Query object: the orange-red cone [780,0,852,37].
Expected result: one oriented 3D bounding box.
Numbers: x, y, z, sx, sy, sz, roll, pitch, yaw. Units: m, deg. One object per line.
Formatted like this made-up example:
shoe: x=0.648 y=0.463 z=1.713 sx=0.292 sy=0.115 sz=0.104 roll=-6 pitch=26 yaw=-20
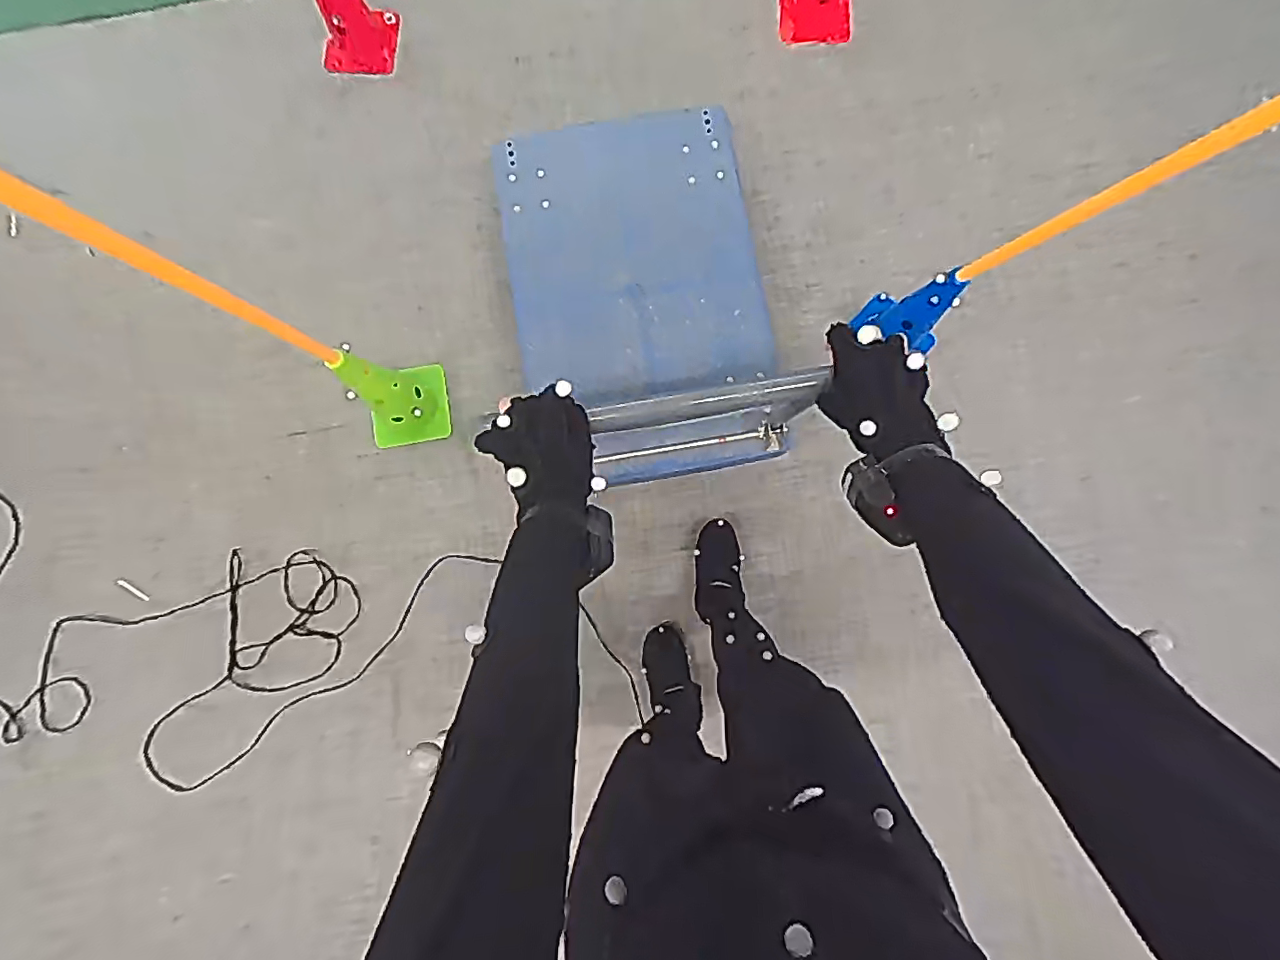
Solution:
orange-red cone: x=0.486 y=-1.348 z=1.344 sx=0.198 sy=0.360 sz=0.199 roll=2 pitch=84 yaw=2
